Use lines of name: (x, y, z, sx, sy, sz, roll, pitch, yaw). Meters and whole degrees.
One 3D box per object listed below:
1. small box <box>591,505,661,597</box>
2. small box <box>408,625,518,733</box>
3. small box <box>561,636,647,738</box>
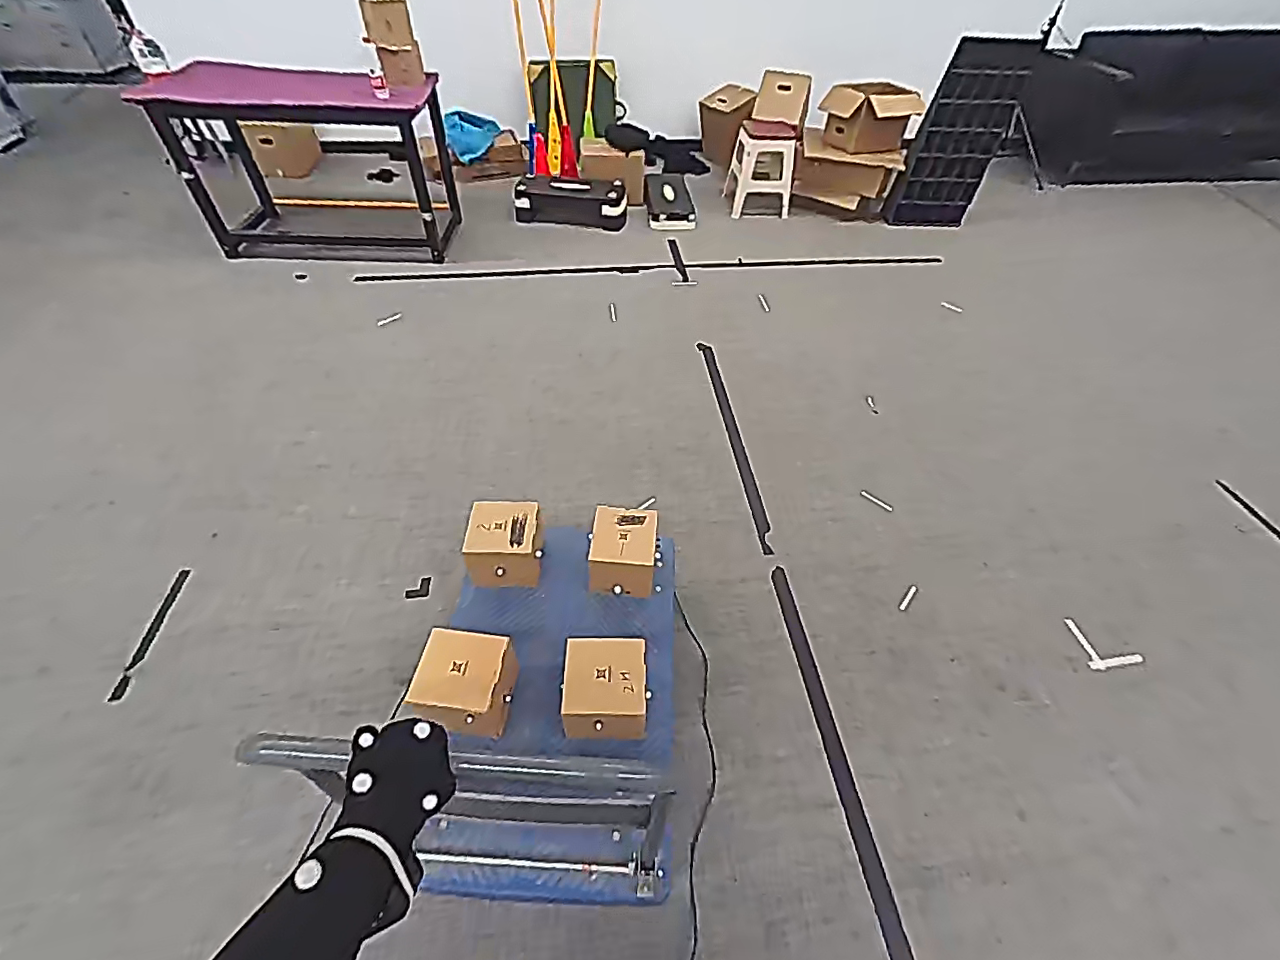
small box: (-0.037, 0.191, 1.452, 0.168, 0.176, 0.179, 5, 49, 2)
small box: (-0.383, 0.447, 1.206, 0.179, 0.176, 0.168, 7, 48, 2)
small box: (-0.074, 0.464, 1.206, 0.179, 0.176, 0.168, 2, 48, -1)
